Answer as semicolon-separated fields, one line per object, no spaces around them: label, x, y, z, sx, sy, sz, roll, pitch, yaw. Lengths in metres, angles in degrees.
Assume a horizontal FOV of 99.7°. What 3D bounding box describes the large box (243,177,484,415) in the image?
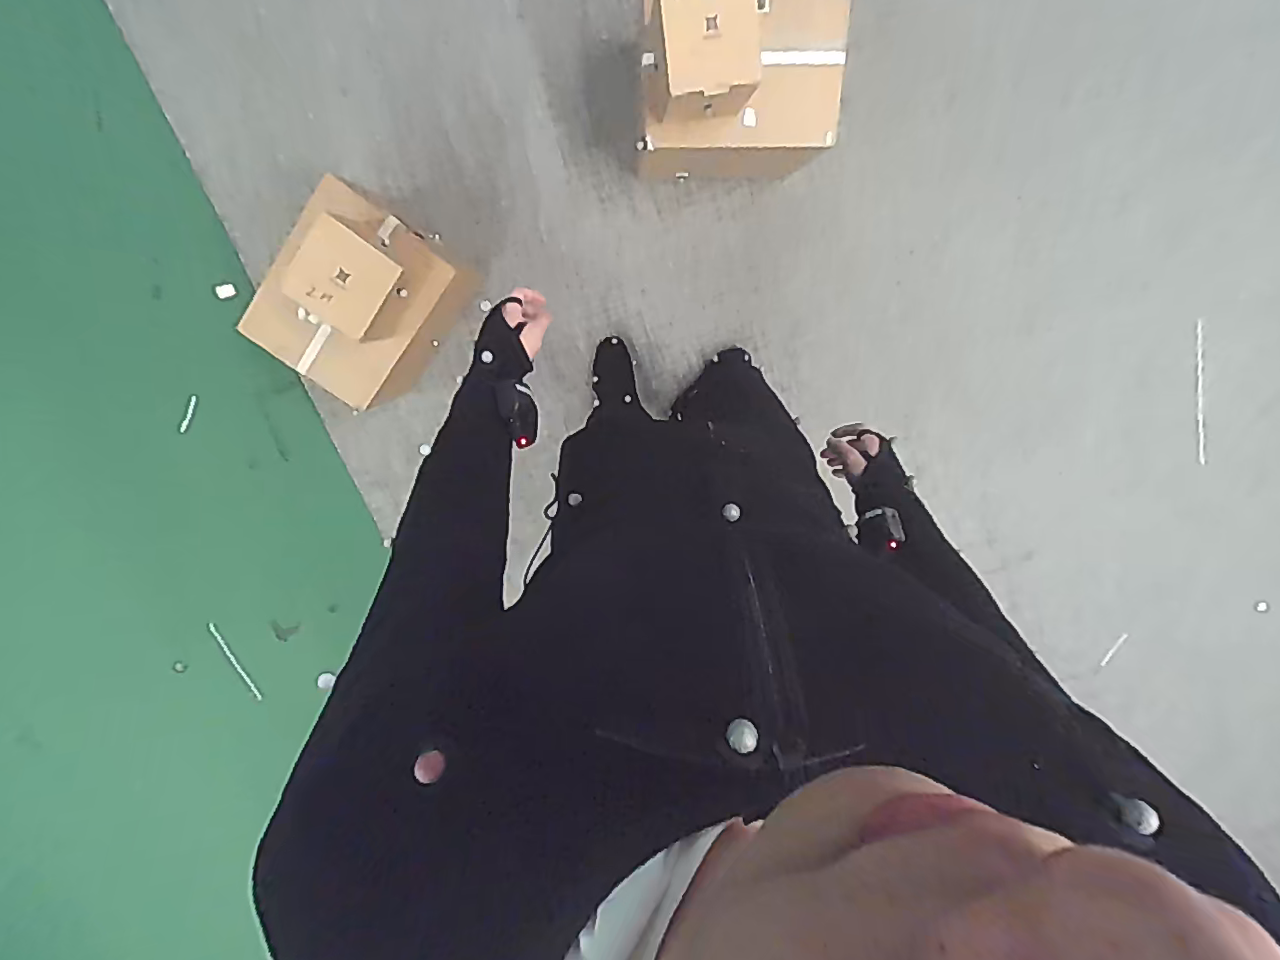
large box;-0.642;-0.433;1.319;0.320;0.320;0.408;37;103;-12

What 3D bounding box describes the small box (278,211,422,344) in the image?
small box;-0.560;-0.395;1.075;0.168;0.176;0.179;36;102;-13

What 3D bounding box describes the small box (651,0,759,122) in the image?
small box;0.115;-0.782;0.992;0.168;0.176;0.179;-9;109;-1
